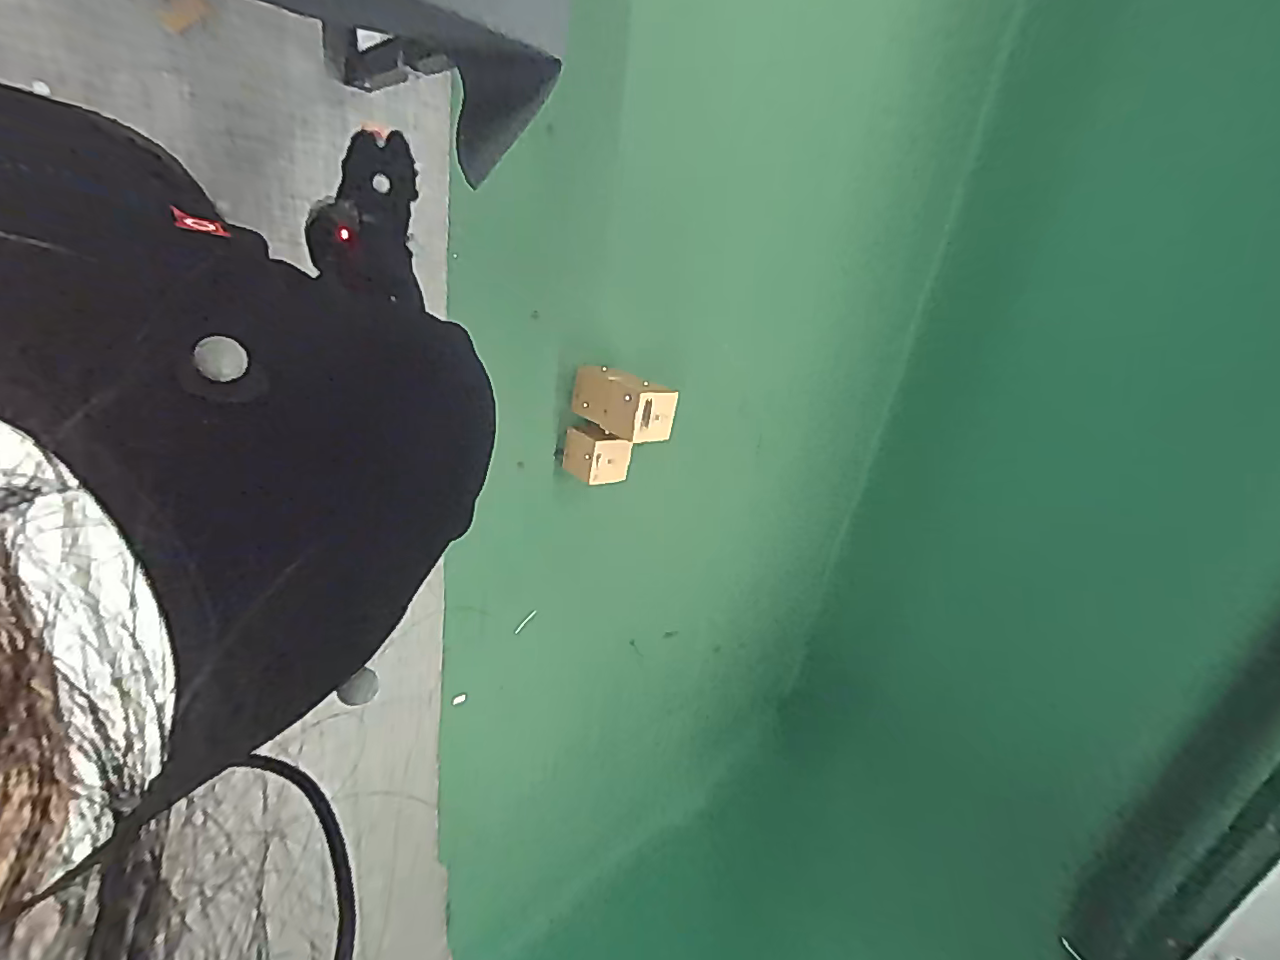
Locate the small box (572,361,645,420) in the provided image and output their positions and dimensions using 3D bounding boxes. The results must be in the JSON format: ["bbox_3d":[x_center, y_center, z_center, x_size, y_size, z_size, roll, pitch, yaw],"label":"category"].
[{"bbox_3d":[-0.115,-0.313,1.888,0.179,0.176,0.168,-6,117,-43],"label":"small box"}]
